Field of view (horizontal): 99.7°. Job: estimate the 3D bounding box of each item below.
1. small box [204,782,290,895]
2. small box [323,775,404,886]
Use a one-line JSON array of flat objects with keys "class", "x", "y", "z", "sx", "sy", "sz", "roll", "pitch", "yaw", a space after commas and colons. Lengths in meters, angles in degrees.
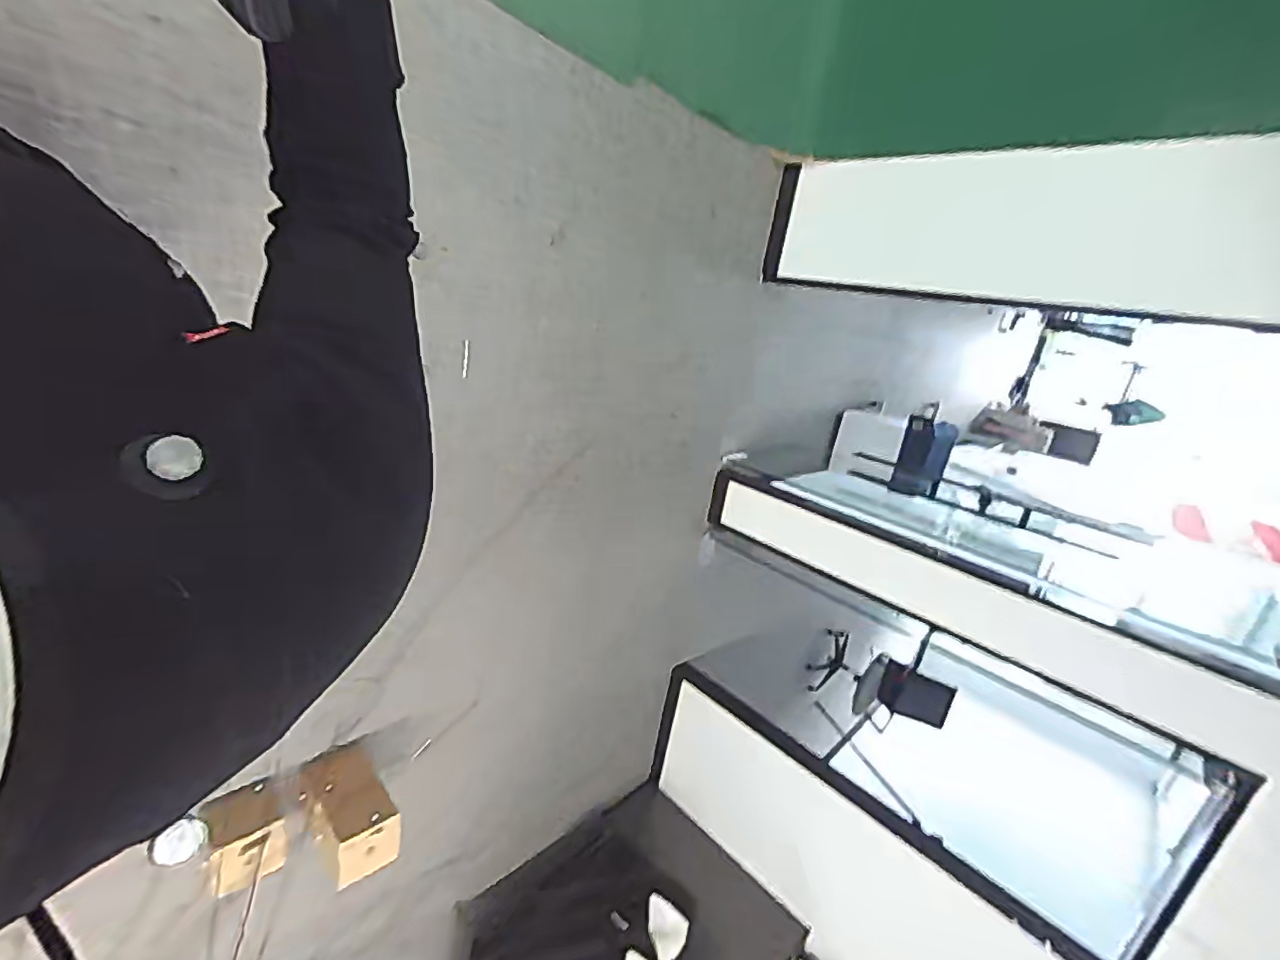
[{"class": "small box", "x": -1.096, "y": 0.983, "z": 1.508, "sx": 0.168, "sy": 0.176, "sz": 0.179, "roll": -9, "pitch": 116, "yaw": -45}, {"class": "small box", "x": -0.812, "y": 1.014, "z": 1.581, "sx": 0.168, "sy": 0.176, "sz": 0.179, "roll": -7, "pitch": 115, "yaw": -46}]
